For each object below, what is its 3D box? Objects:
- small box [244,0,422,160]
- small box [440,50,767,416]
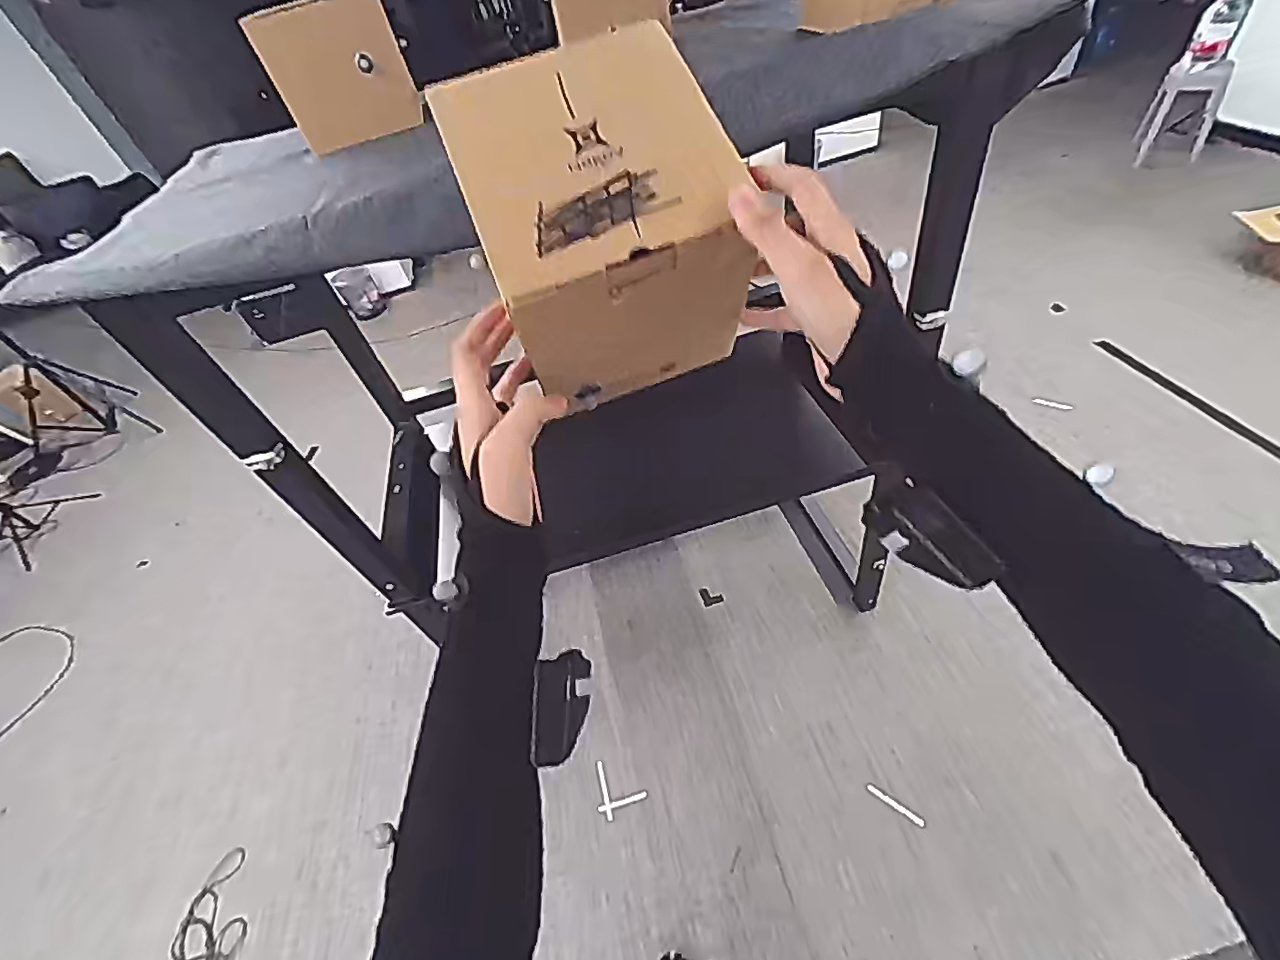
[{"bbox_3d":[-0.455,-0.627,0.837,0.179,0.176,0.168,-19,46,-4],"label":"small box"},{"bbox_3d":[-0.025,-0.166,0.416,0.168,0.176,0.179,-20,74,-6],"label":"small box"}]
